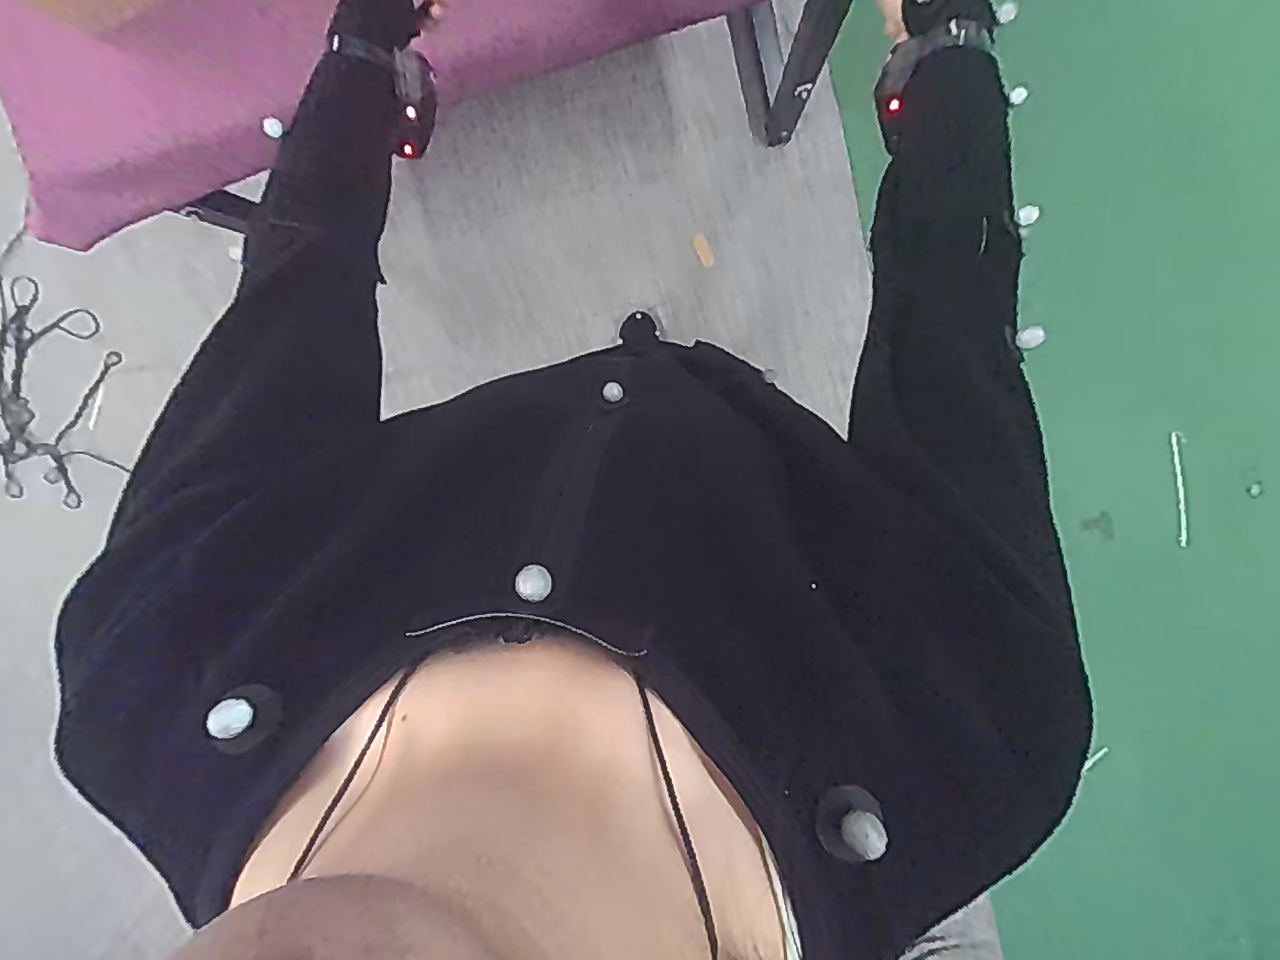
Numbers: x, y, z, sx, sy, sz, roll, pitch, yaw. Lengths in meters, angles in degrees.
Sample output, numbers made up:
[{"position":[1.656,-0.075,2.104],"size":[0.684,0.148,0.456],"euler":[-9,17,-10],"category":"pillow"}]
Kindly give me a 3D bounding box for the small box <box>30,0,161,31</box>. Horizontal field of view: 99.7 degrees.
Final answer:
[{"position":[-0.678,-0.664,0.606],"size":[0.179,0.176,0.168],"euler":[-18,100,7],"category":"small box"}]
